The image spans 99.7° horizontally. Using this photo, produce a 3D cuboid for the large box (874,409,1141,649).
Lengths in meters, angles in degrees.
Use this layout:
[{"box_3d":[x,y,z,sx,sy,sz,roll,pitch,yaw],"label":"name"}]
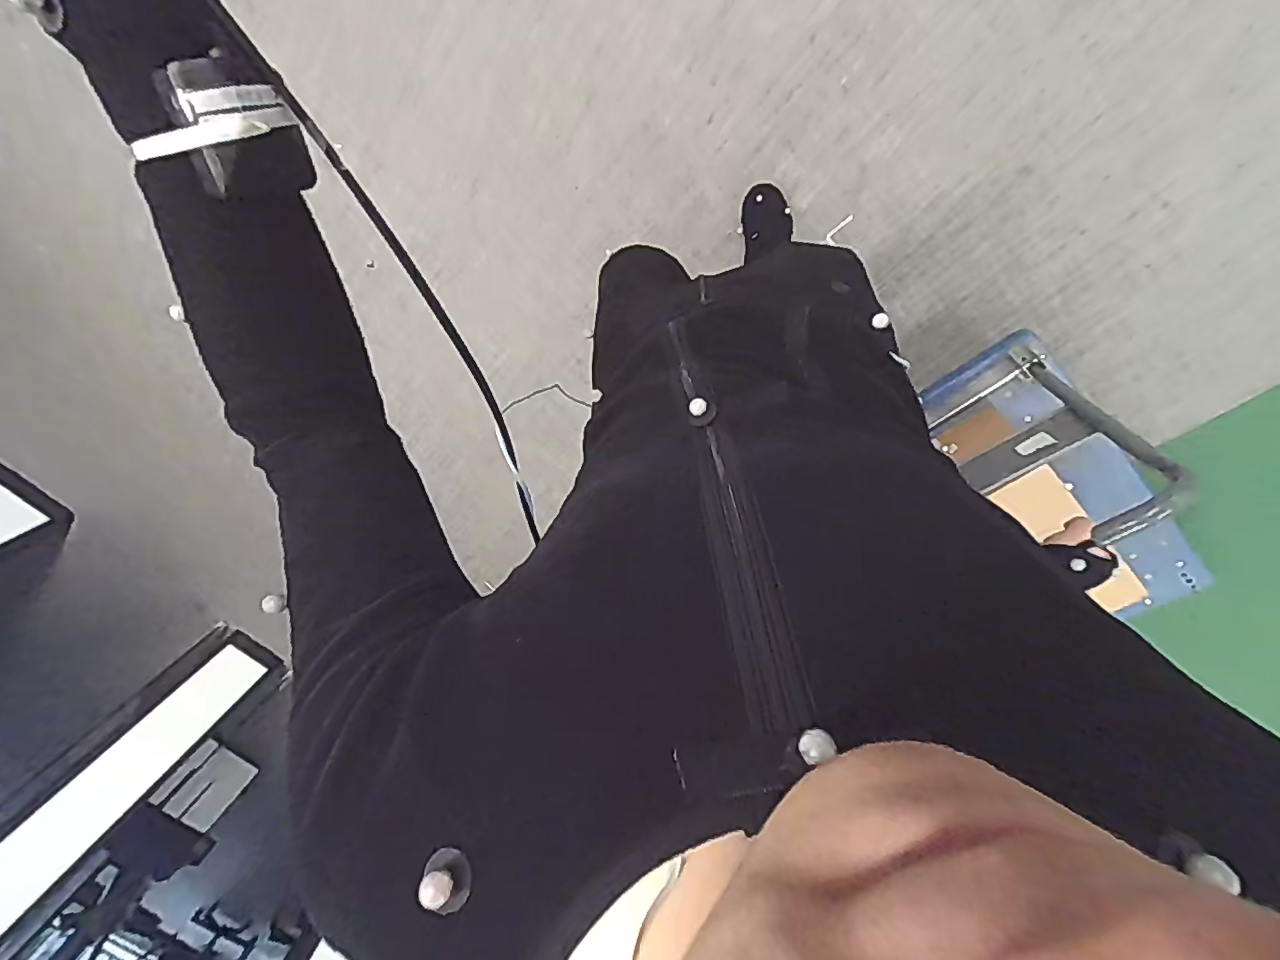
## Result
[{"box_3d":[0.828,0.108,1.279,0.408,0.320,0.320,44,120,-12],"label":"large box"}]
